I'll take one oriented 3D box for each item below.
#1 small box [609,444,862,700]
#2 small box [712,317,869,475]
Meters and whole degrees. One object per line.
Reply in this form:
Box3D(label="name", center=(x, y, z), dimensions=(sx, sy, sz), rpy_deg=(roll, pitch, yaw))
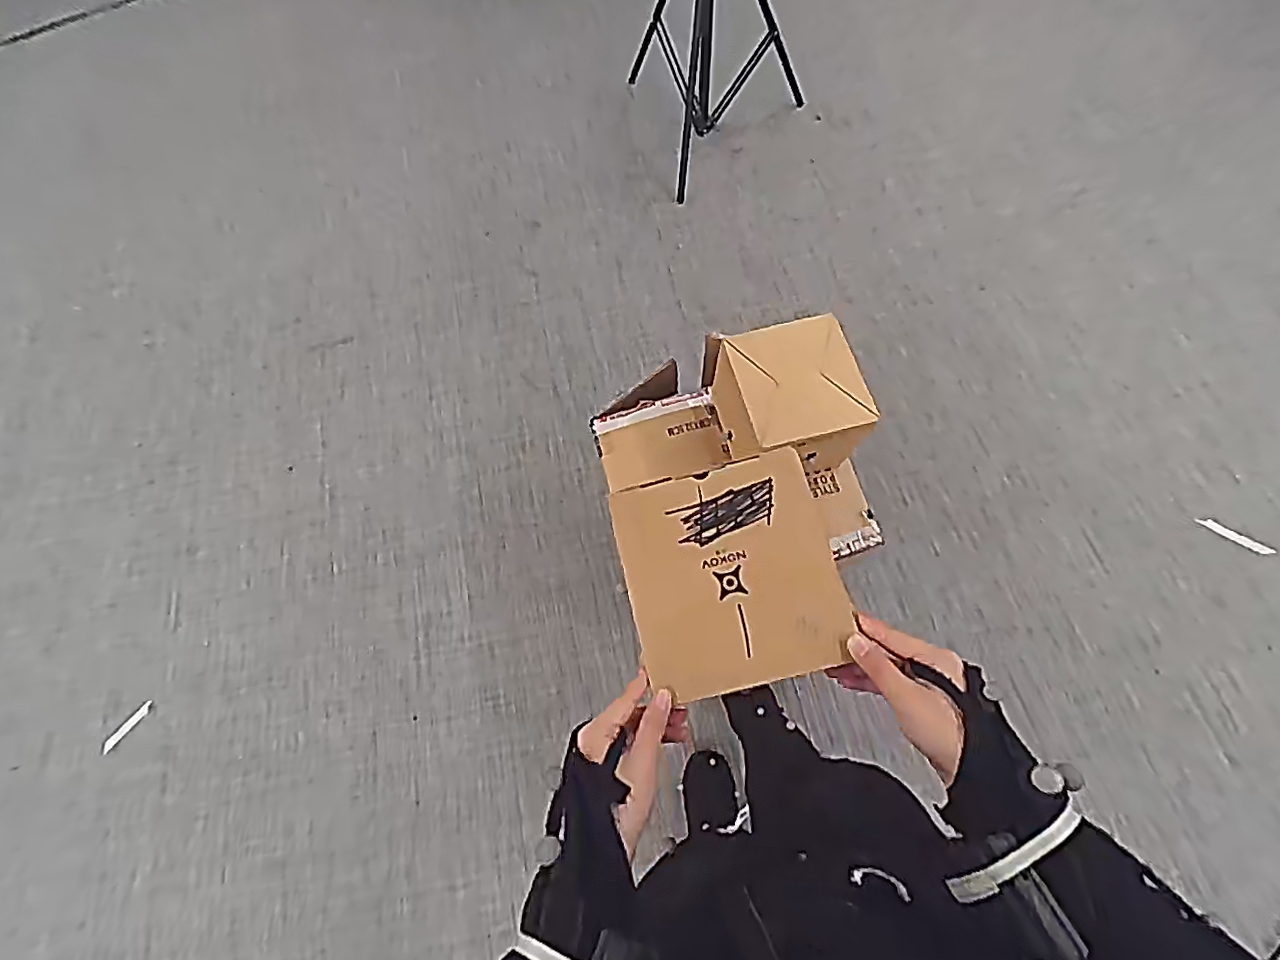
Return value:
Box3D(label="small box", center=(0.077, 0.090, 0.507), dimensions=(0.168, 0.176, 0.179), rpy_deg=(-15, 74, 2))
Box3D(label="small box", center=(0.215, -0.108, 0.804), dimensions=(0.168, 0.176, 0.179), rpy_deg=(-14, 71, -4))
